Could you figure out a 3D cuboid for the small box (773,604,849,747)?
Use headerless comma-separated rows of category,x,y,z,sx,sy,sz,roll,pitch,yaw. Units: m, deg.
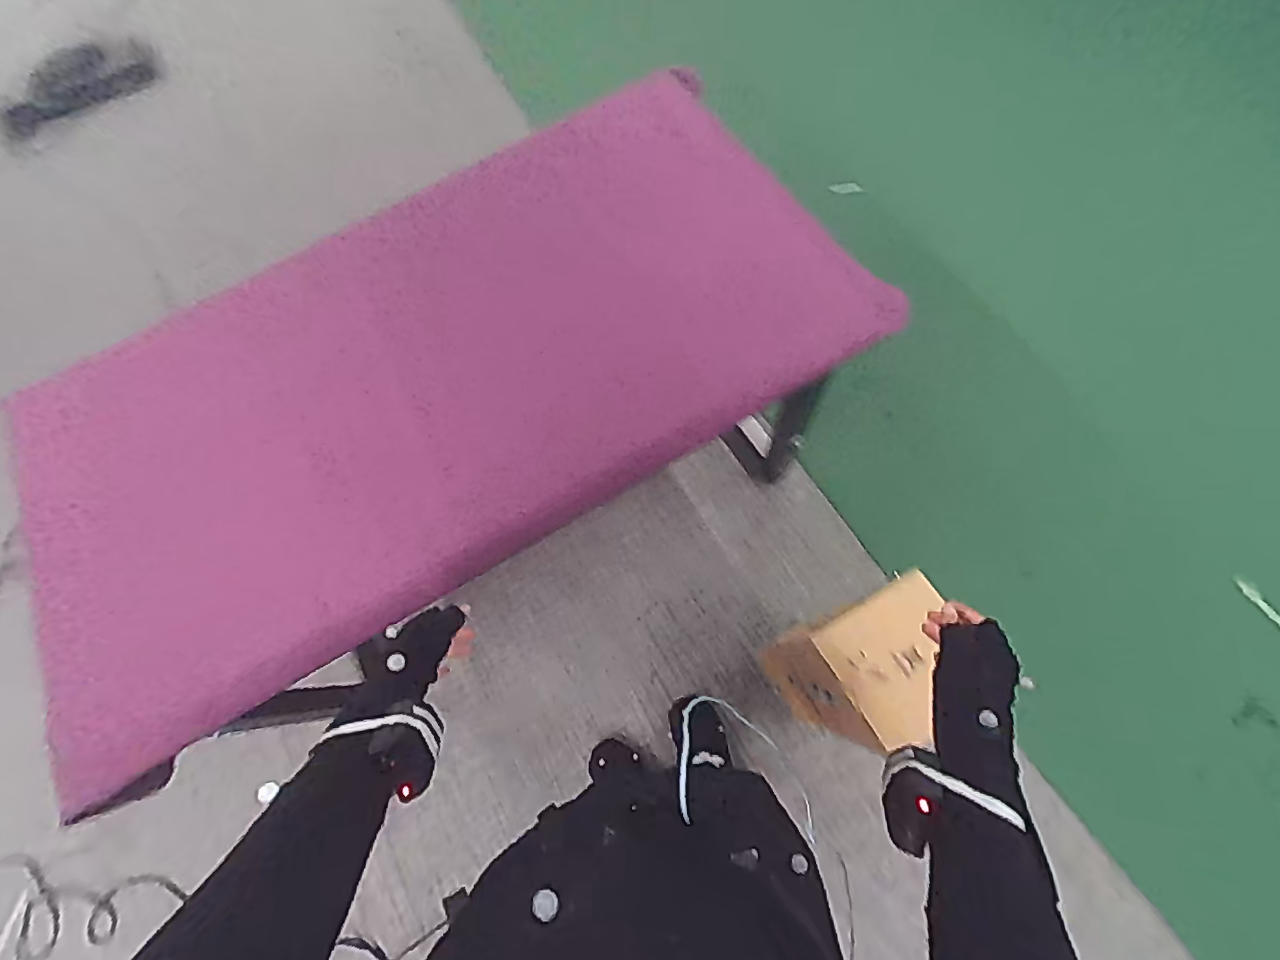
small box,0.346,0.318,0.913,0.168,0.176,0.179,-27,70,-4

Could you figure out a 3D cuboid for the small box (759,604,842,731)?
small box,0.353,0.365,1.068,0.168,0.176,0.179,-26,70,-4

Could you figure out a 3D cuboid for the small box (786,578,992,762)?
small box,0.330,0.260,0.759,0.179,0.176,0.168,-30,70,-5
